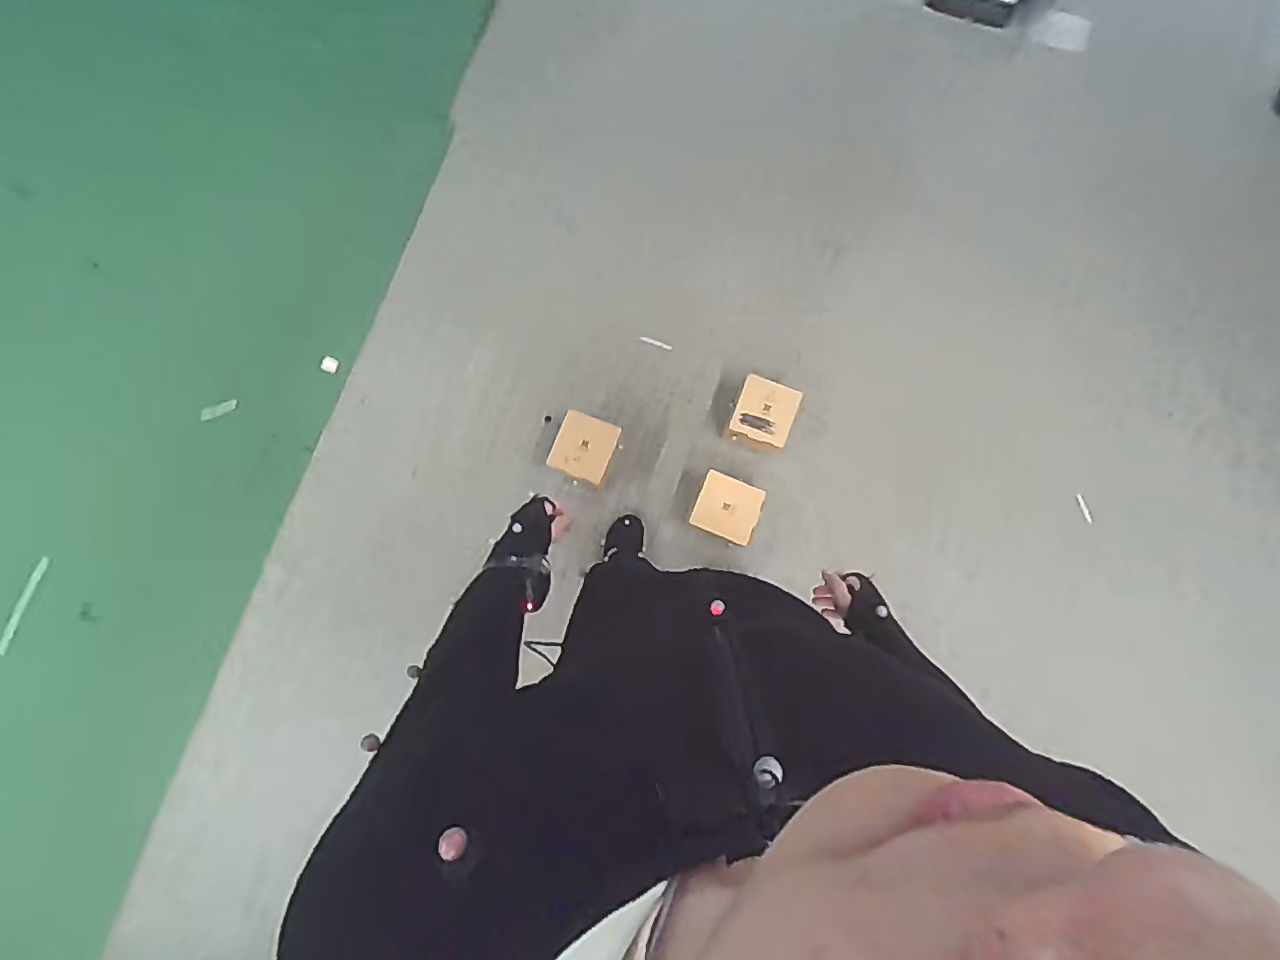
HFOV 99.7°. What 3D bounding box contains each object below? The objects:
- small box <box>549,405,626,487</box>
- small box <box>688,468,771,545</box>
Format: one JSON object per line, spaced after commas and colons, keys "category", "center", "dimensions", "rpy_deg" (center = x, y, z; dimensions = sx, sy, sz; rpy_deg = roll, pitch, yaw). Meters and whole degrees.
{"category": "small box", "center": [-0.147, -0.092, 1.583], "dimensions": [0.168, 0.176, 0.179], "rpy_deg": [22, 84, 4]}
{"category": "small box", "center": [0.250, 0.082, 1.560], "dimensions": [0.179, 0.176, 0.168], "rpy_deg": [23, 85, 2]}
